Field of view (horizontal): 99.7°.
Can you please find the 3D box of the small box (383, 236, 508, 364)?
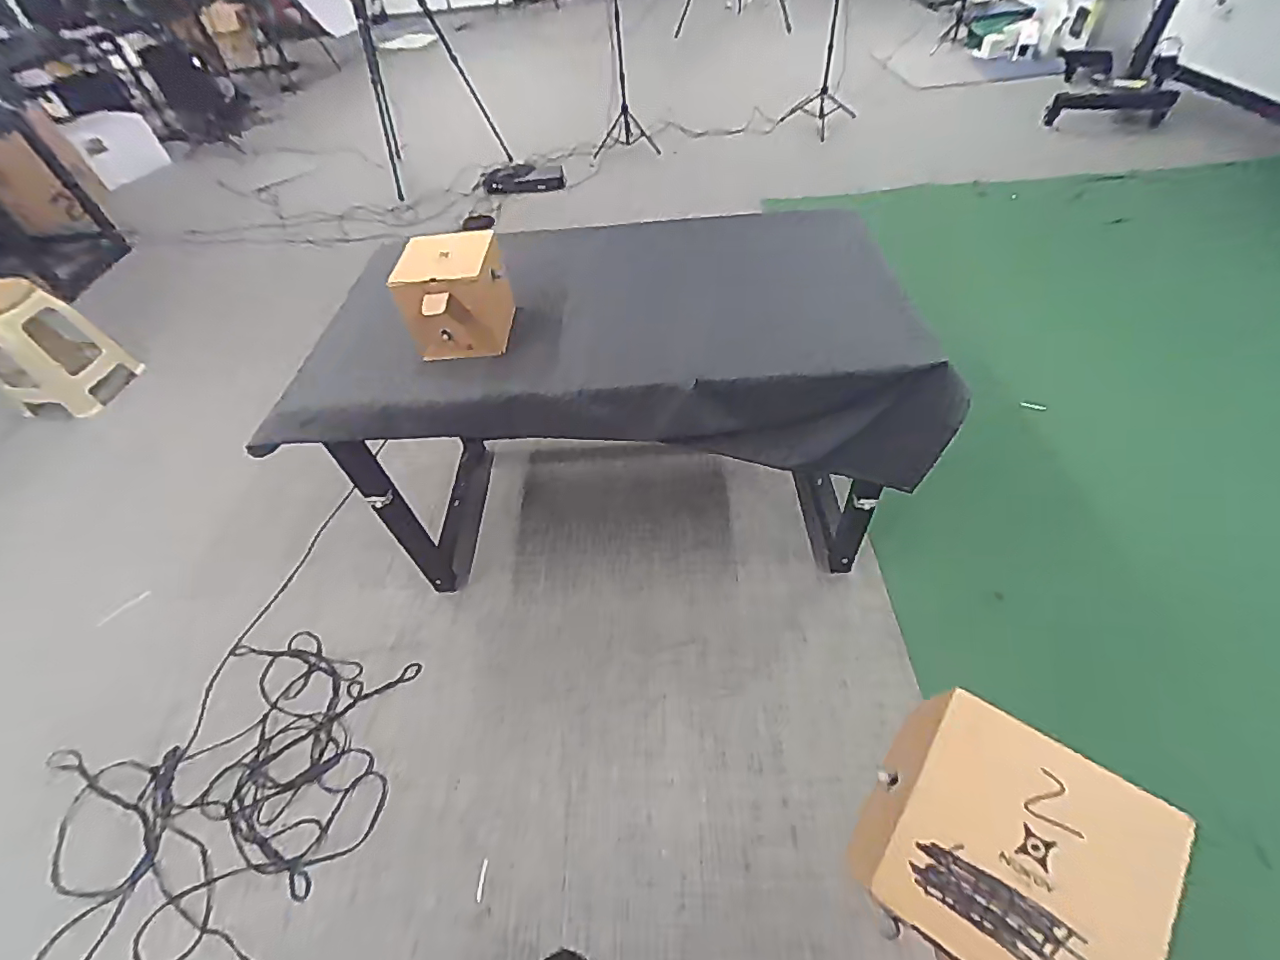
[{"bbox_3d":[-0.361,-0.347,1.046,0.168,0.176,0.179,-4,50,2],"label":"small box"}]
